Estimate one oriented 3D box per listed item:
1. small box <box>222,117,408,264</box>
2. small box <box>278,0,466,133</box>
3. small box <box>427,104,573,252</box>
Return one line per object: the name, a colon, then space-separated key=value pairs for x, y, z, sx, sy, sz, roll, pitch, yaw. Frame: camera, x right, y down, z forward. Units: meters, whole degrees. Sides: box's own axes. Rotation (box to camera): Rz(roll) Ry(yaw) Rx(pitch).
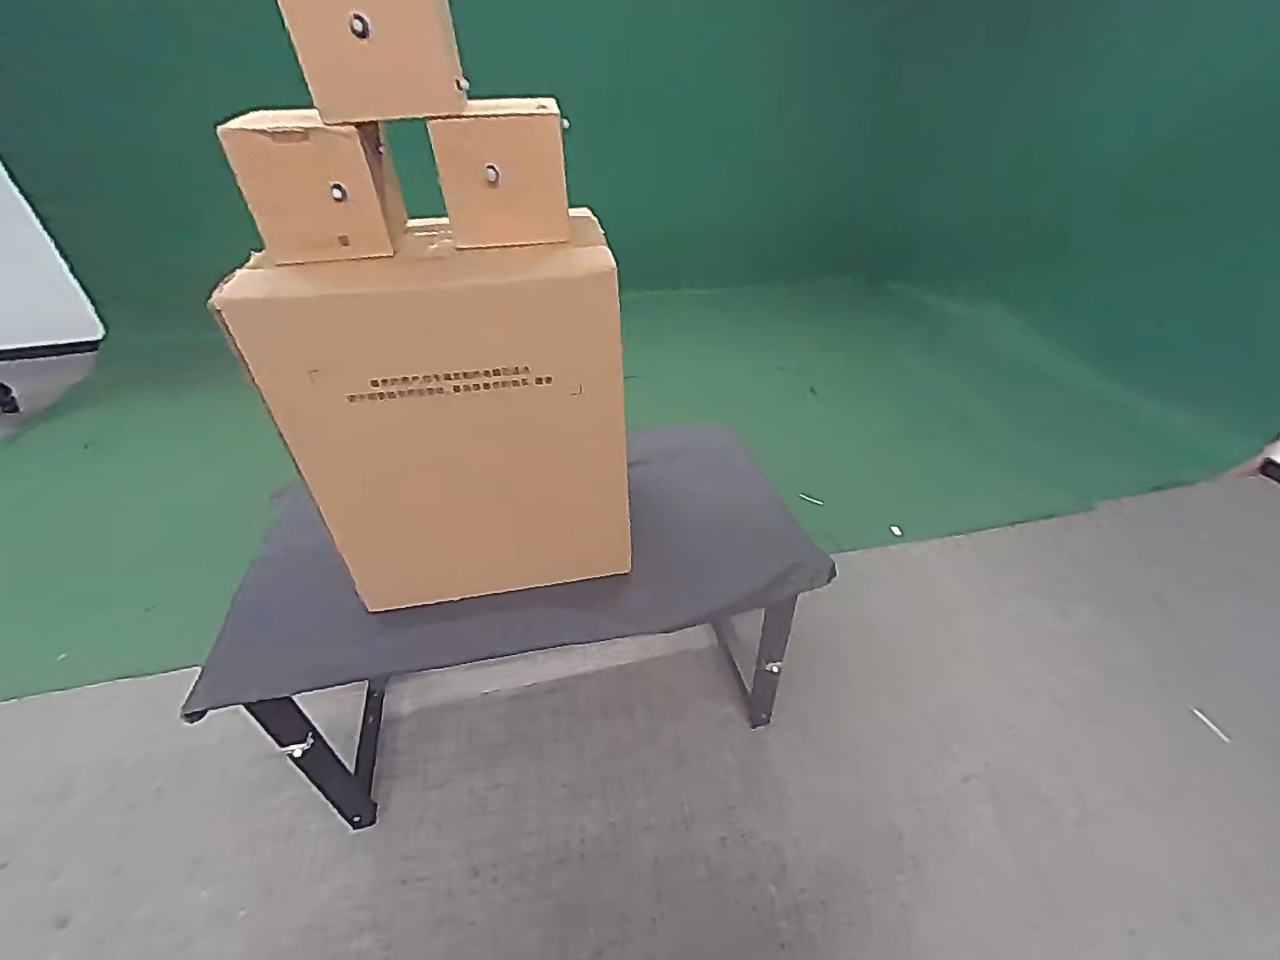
small box: x=-0.456 y=-0.425 z=0.796 sx=0.168 sy=0.176 sz=0.179 roll=-7 pitch=39 yaw=-9
small box: x=-0.335 y=-0.568 z=0.705 sx=0.179 sy=0.176 sz=0.168 roll=-10 pitch=41 yaw=-7
small box: x=-0.204 y=-0.461 z=0.828 sx=0.179 sy=0.176 sz=0.168 roll=-8 pitch=41 yaw=-6
